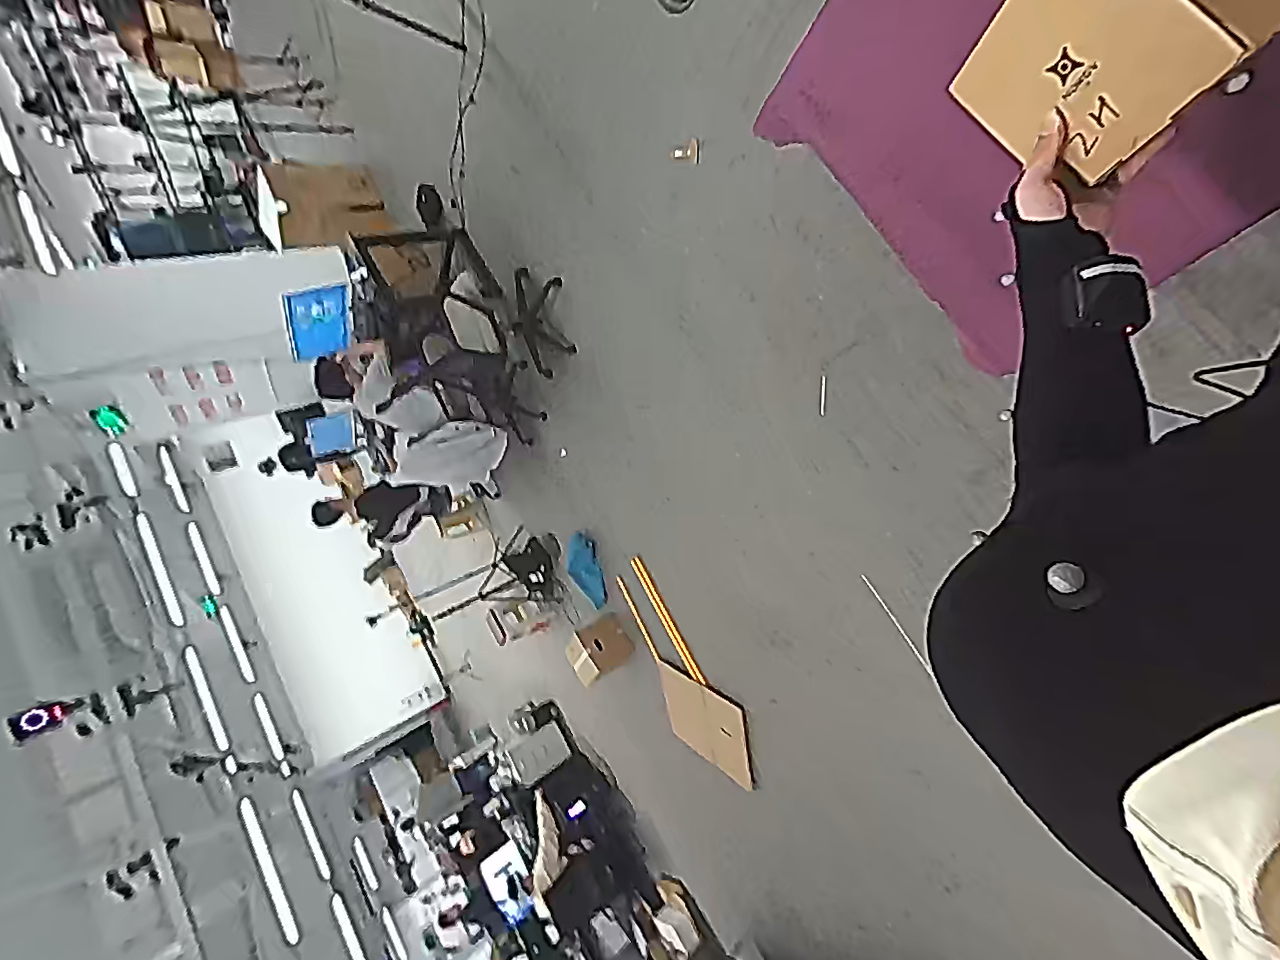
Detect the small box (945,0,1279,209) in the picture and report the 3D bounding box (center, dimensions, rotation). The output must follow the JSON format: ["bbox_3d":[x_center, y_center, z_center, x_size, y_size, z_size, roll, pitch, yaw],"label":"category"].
[{"bbox_3d":[0.431,-0.395,0.478,0.179,0.176,0.168,51,174,6],"label":"small box"}]
